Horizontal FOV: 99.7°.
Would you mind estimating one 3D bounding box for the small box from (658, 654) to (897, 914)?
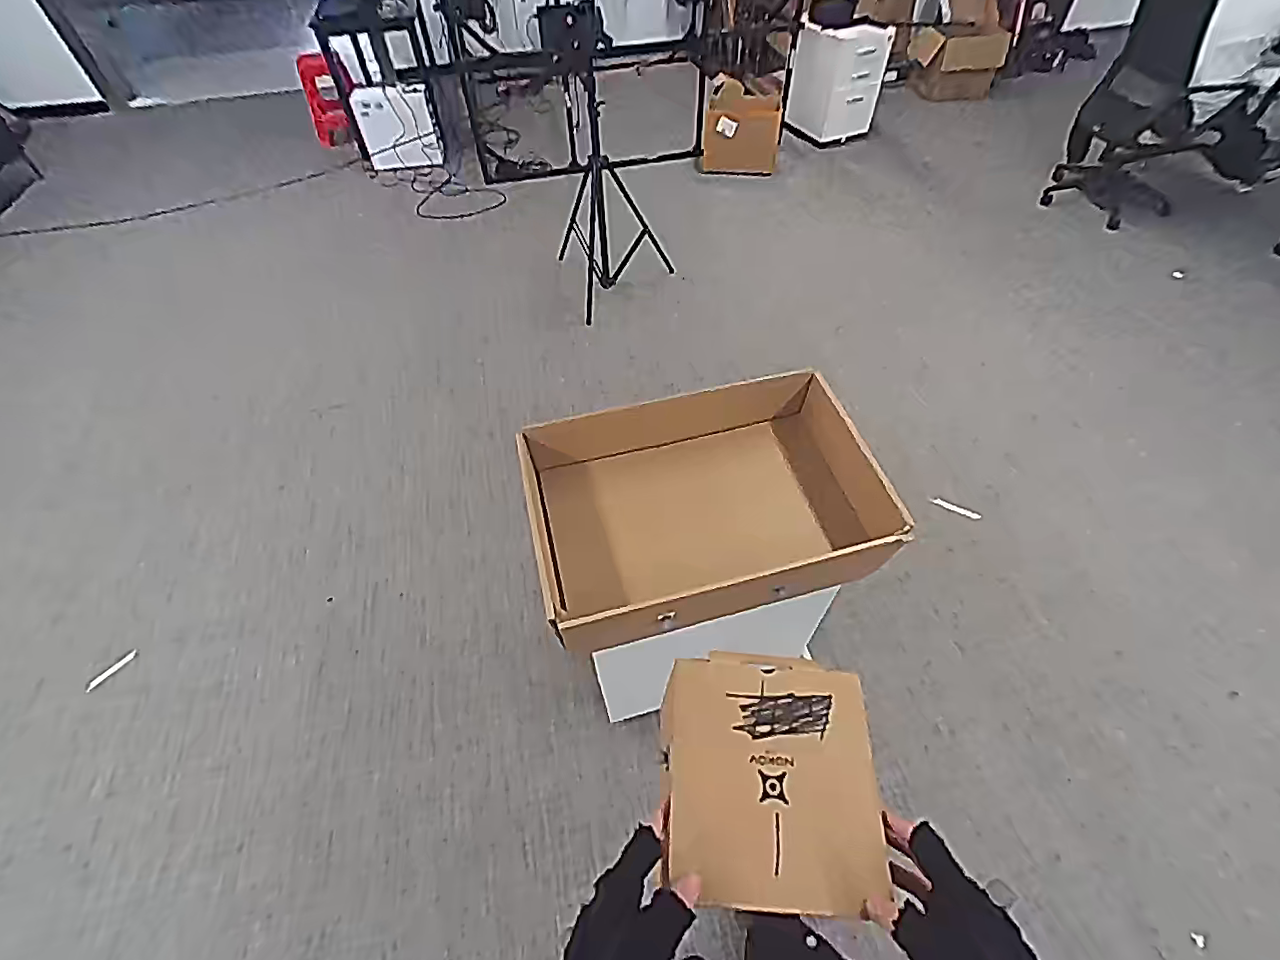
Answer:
[{"bbox_3d":[0.105,0.278,0.499,0.168,0.176,0.179,4,55,1],"label":"small box"}]
